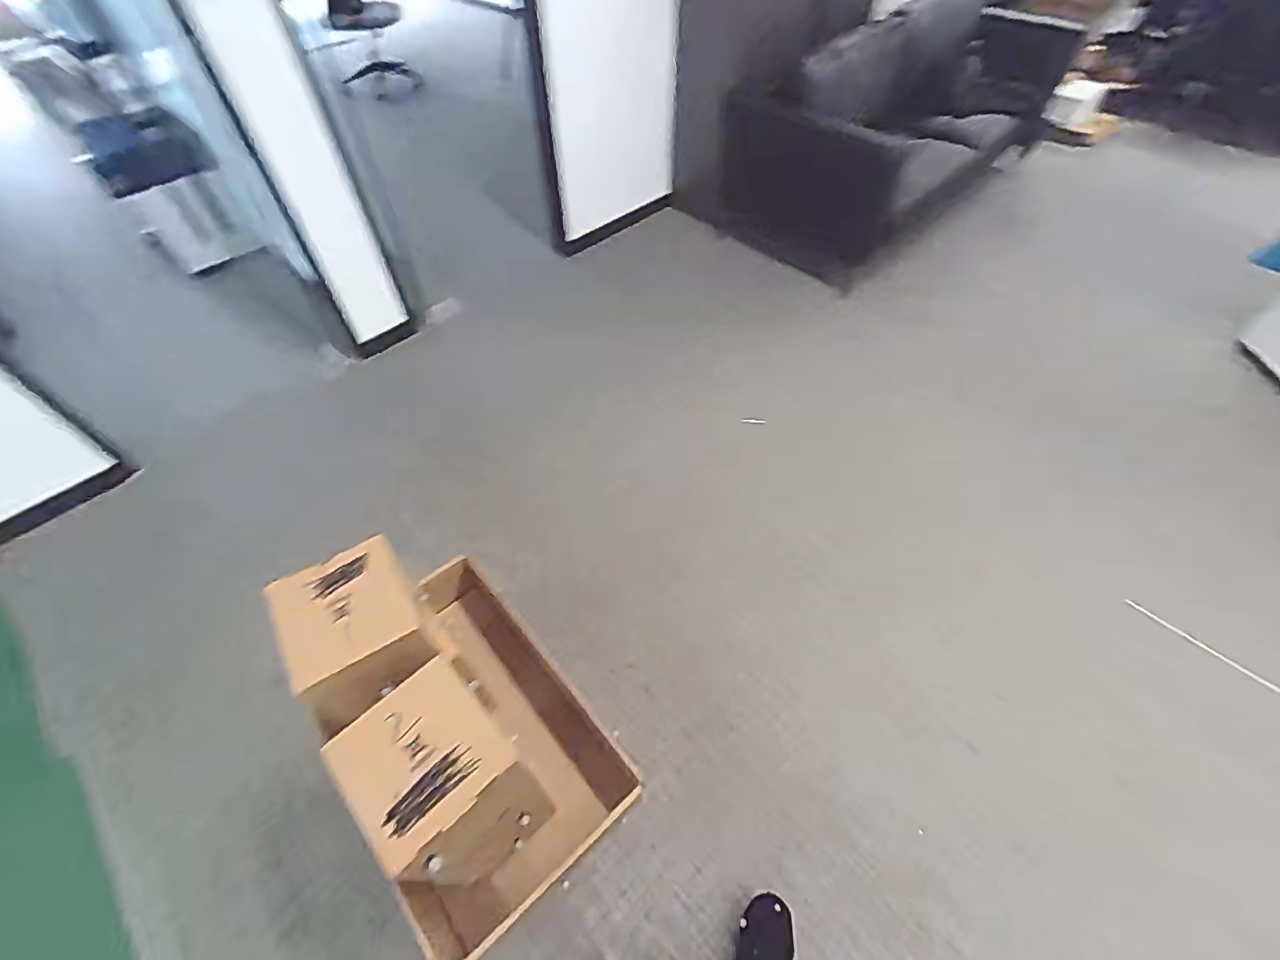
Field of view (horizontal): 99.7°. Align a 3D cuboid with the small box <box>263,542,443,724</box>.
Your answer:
[{"bbox_3d":[-0.421,0.231,0.811,0.168,0.176,0.179,-27,59,-20],"label":"small box"}]

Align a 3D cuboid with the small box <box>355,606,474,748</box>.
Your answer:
[{"bbox_3d":[-0.417,0.331,0.941,0.168,0.176,0.179,-36,62,-25],"label":"small box"}]

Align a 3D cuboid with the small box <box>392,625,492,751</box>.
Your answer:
[{"bbox_3d":[-0.420,0.428,1.070,0.168,0.176,0.179,-36,61,-24],"label":"small box"}]

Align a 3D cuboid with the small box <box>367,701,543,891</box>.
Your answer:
[{"bbox_3d":[-0.268,0.478,0.819,0.168,0.176,0.179,-37,59,-26],"label":"small box"}]
